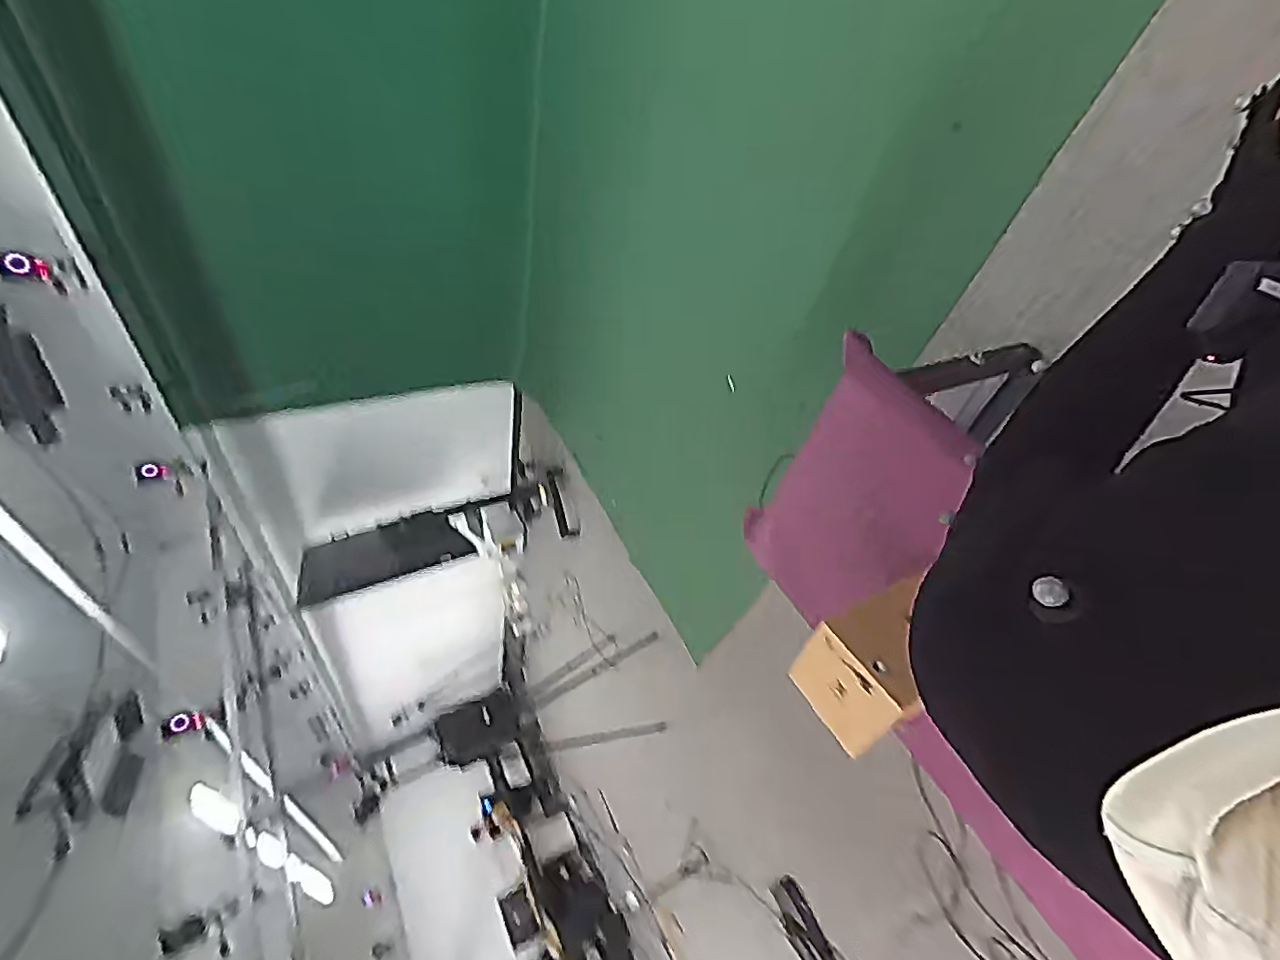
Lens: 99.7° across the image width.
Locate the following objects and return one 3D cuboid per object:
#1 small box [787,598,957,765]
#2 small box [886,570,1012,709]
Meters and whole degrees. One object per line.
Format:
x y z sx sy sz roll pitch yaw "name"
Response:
0.384 0.332 0.905 0.168 0.176 0.179 50 144 36 "small box"
0.524 0.294 0.983 0.168 0.176 0.179 51 143 35 "small box"
